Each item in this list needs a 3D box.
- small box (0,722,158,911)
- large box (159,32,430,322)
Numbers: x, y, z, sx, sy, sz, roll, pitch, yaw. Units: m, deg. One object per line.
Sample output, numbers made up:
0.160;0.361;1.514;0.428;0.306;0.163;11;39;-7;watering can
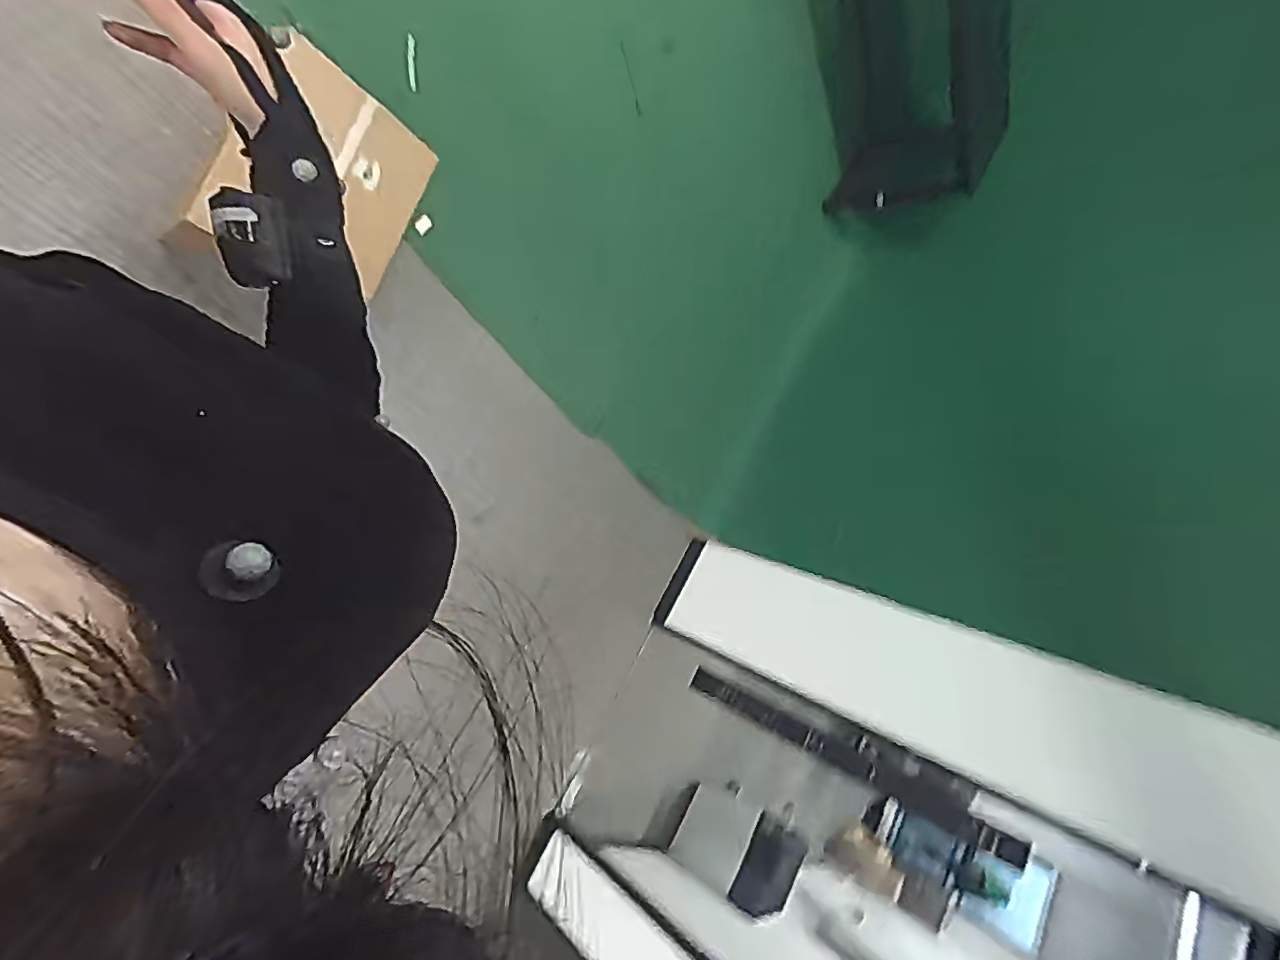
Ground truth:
-0.935;0.527;0.866;0.168;0.176;0.179;-44;132;-31;small box
-0.721;-0.587;1.137;0.320;0.320;0.408;30;77;-49;large box
